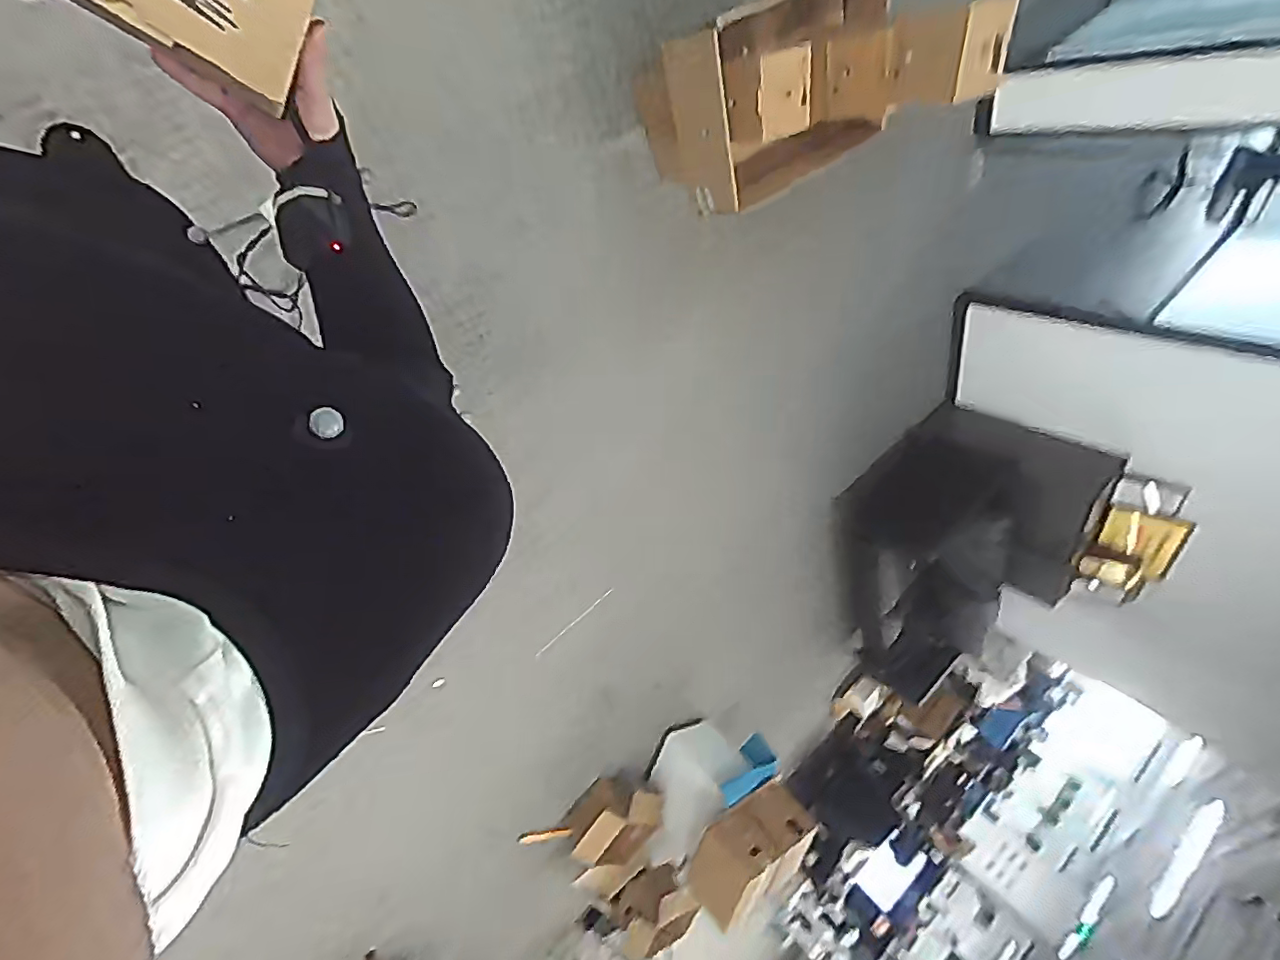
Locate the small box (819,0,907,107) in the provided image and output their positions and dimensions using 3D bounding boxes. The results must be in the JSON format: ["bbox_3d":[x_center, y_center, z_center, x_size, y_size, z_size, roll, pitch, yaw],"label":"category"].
[{"bbox_3d":[0.554,-1.020,1.295,0.179,0.176,0.168,-37,135,-16],"label":"small box"}]

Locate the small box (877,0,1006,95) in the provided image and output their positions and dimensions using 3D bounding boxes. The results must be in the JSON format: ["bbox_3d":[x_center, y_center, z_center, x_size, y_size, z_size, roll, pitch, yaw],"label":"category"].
[{"bbox_3d":[0.652,-0.955,1.181,0.179,0.176,0.168,-29,131,-23],"label":"small box"}]

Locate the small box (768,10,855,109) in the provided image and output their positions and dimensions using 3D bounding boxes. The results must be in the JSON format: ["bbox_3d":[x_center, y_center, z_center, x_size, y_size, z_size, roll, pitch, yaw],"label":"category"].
[{"bbox_3d":[0.460,-1.091,1.407,0.179,0.176,0.168,-37,133,-17],"label":"small box"}]
